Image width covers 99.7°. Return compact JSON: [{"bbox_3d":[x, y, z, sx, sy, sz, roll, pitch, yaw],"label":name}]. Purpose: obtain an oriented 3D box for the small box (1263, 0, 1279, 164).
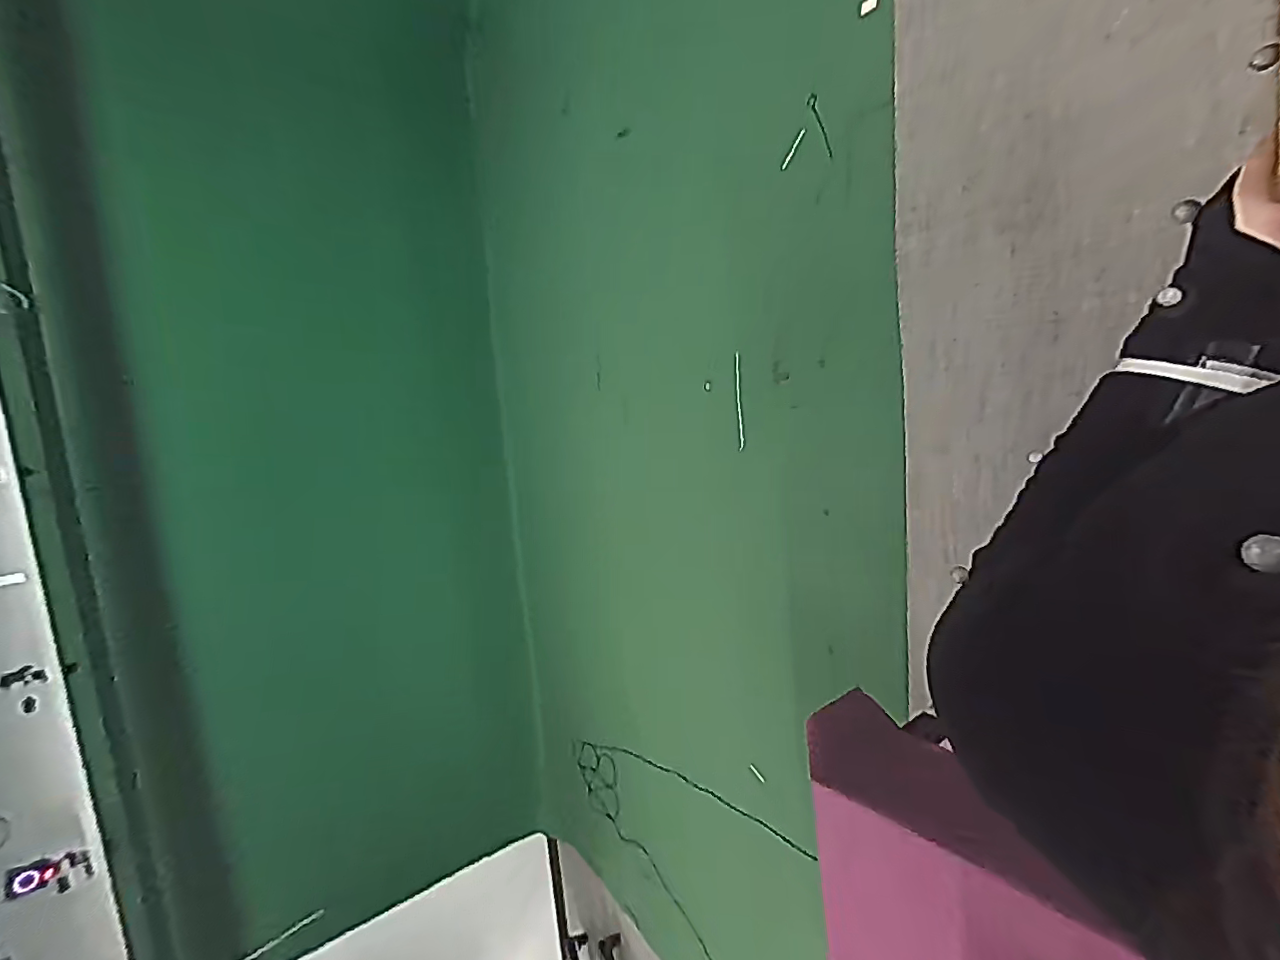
[{"bbox_3d":[0.427,-0.248,0.246,0.179,0.176,0.168,2,101,52],"label":"small box"}]
